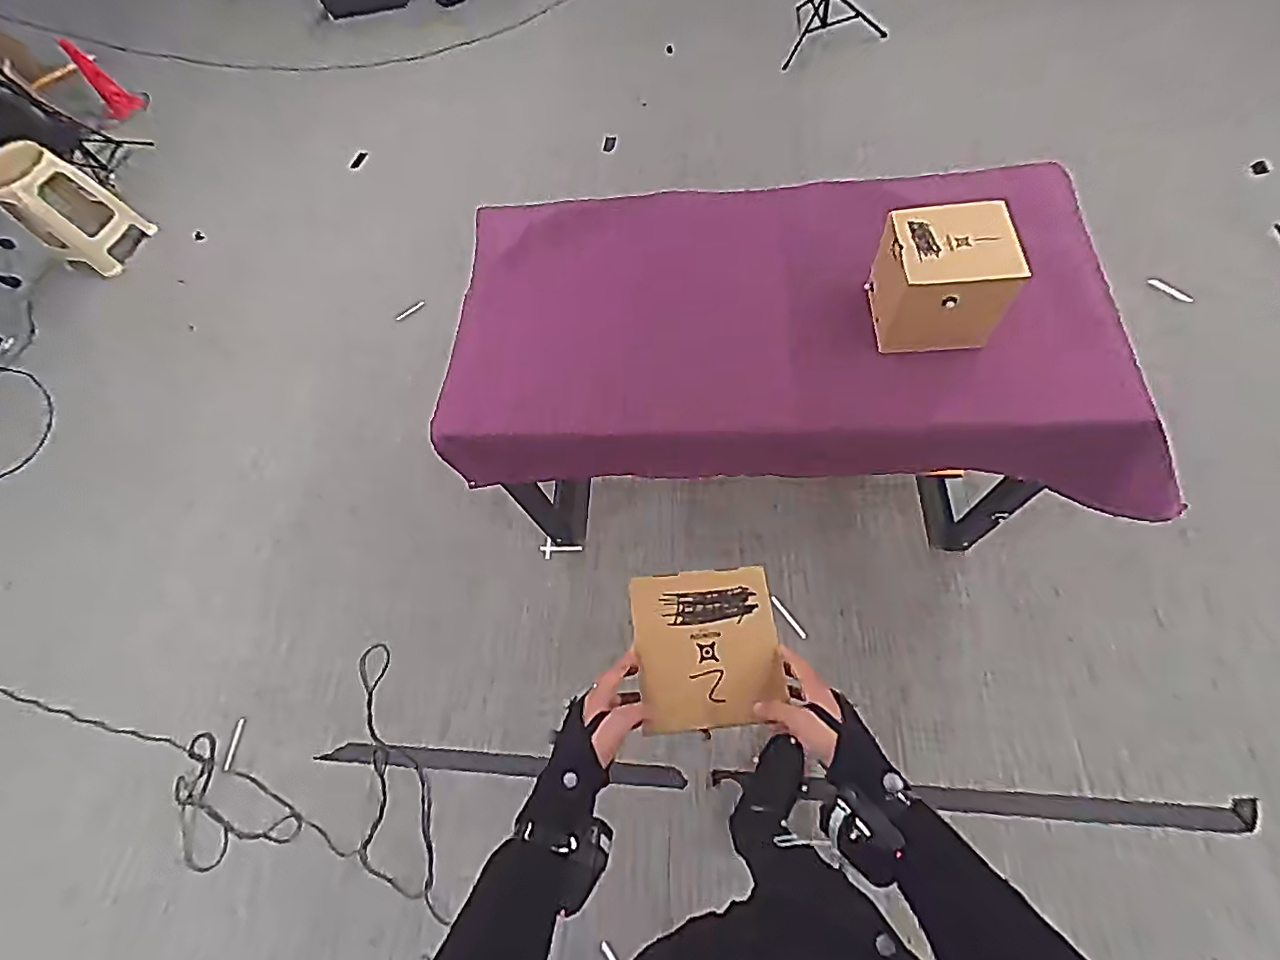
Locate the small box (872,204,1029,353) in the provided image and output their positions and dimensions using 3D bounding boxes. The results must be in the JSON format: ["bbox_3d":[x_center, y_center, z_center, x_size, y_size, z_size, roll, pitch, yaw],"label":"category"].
[{"bbox_3d":[0.502,-0.329,0.910,0.179,0.176,0.168,-1,65,8],"label":"small box"}]
